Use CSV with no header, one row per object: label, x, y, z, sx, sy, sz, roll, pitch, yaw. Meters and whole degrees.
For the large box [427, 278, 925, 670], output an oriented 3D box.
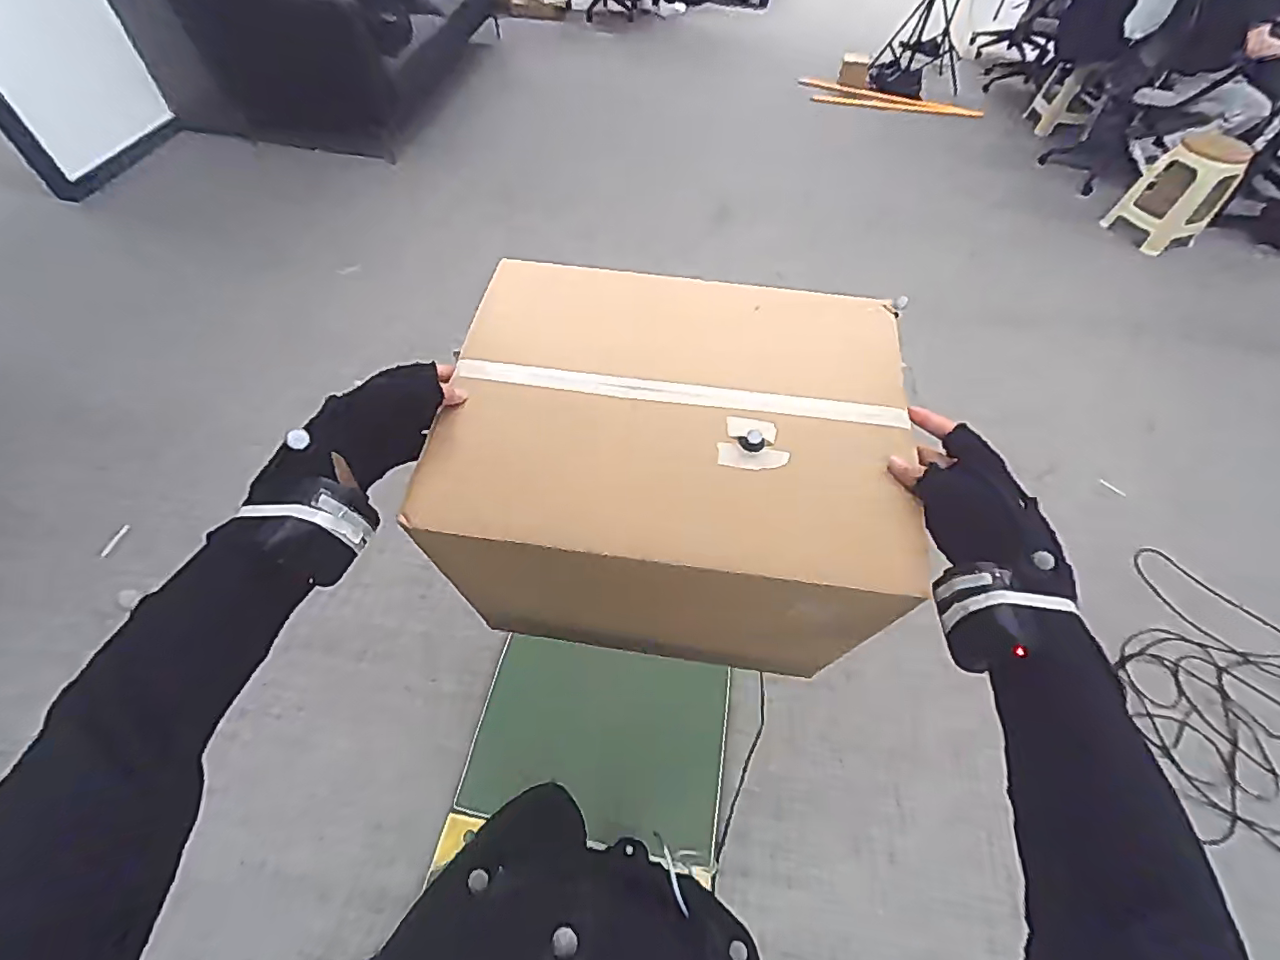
large box,0.036,0.009,0.625,0.408,0.320,0.320,8,60,2
